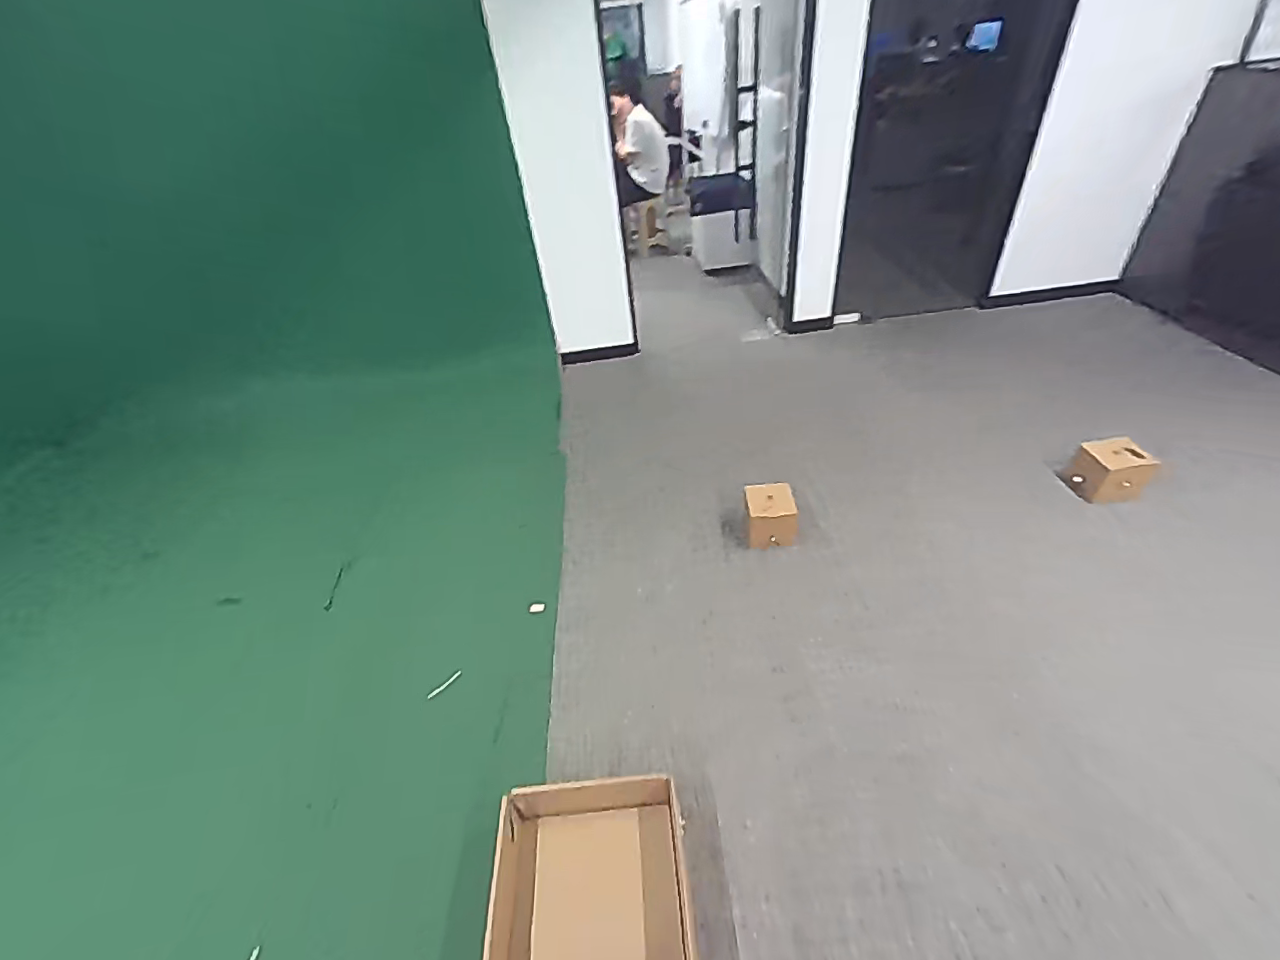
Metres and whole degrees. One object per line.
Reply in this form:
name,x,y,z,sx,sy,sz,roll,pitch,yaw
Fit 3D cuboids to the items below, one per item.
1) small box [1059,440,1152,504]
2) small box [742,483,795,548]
small box,1.732,-0.029,2.023,0.179,0.176,0.168,-7,39,1
small box,0.471,0.134,2.011,0.168,0.176,0.179,-4,39,5
